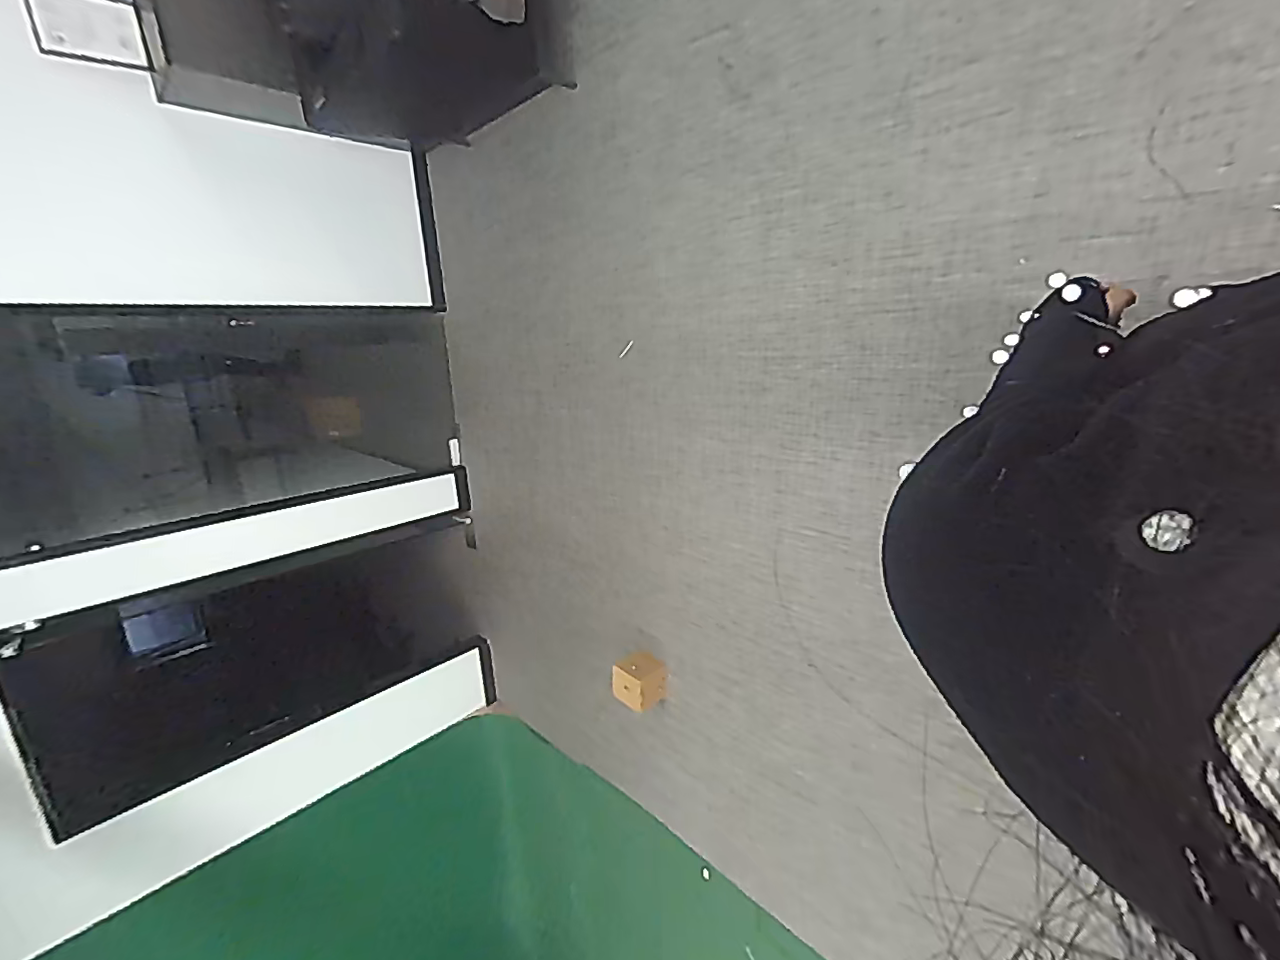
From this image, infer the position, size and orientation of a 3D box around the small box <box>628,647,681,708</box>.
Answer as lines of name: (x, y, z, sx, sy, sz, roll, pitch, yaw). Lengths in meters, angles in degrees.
small box: (0.063, 0.876, 2.418, 0.179, 0.176, 0.168, 15, 114, 42)
